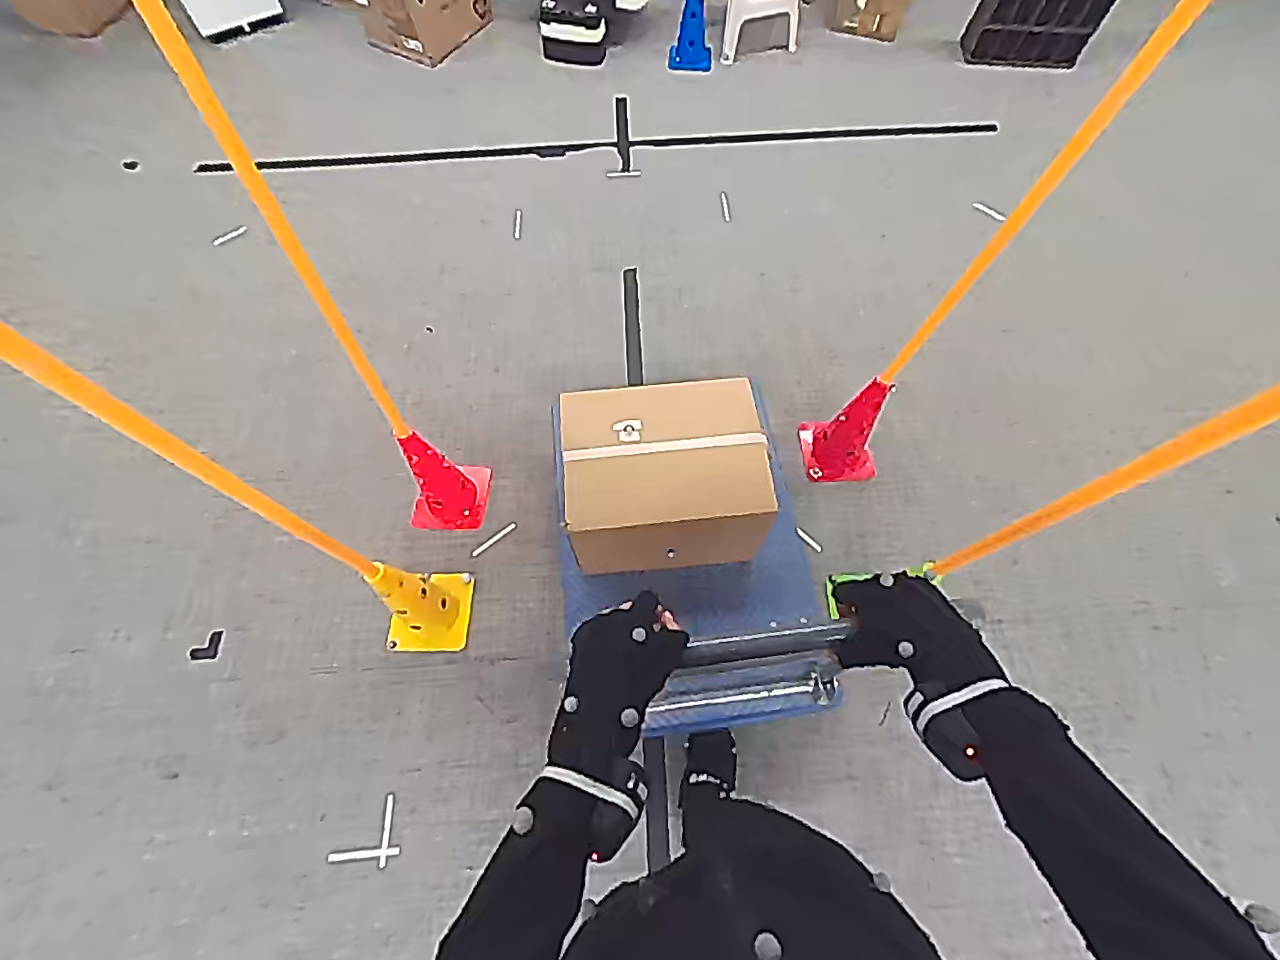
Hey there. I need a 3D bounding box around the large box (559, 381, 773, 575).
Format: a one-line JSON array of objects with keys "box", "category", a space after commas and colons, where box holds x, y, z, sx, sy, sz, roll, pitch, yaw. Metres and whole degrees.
[{"box": [0.046, 0.011, 1.222, 0.408, 0.320, 0.320, -6, 64, -1], "category": "large box"}]

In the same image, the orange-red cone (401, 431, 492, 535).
[{"box": [-0.539, -0.019, 1.408, 0.198, 0.360, 0.199, 4, 62, 2], "category": "orange-red cone"}]

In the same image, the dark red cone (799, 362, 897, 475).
[{"box": [0.584, -0.175, 1.447, 0.201, 0.394, 0.202, -3, 64, -3], "category": "dark red cone"}]

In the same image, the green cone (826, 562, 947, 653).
[{"box": [0.593, 0.267, 1.246, 0.202, 0.368, 0.200, 0, 63, 0], "category": "green cone"}]
